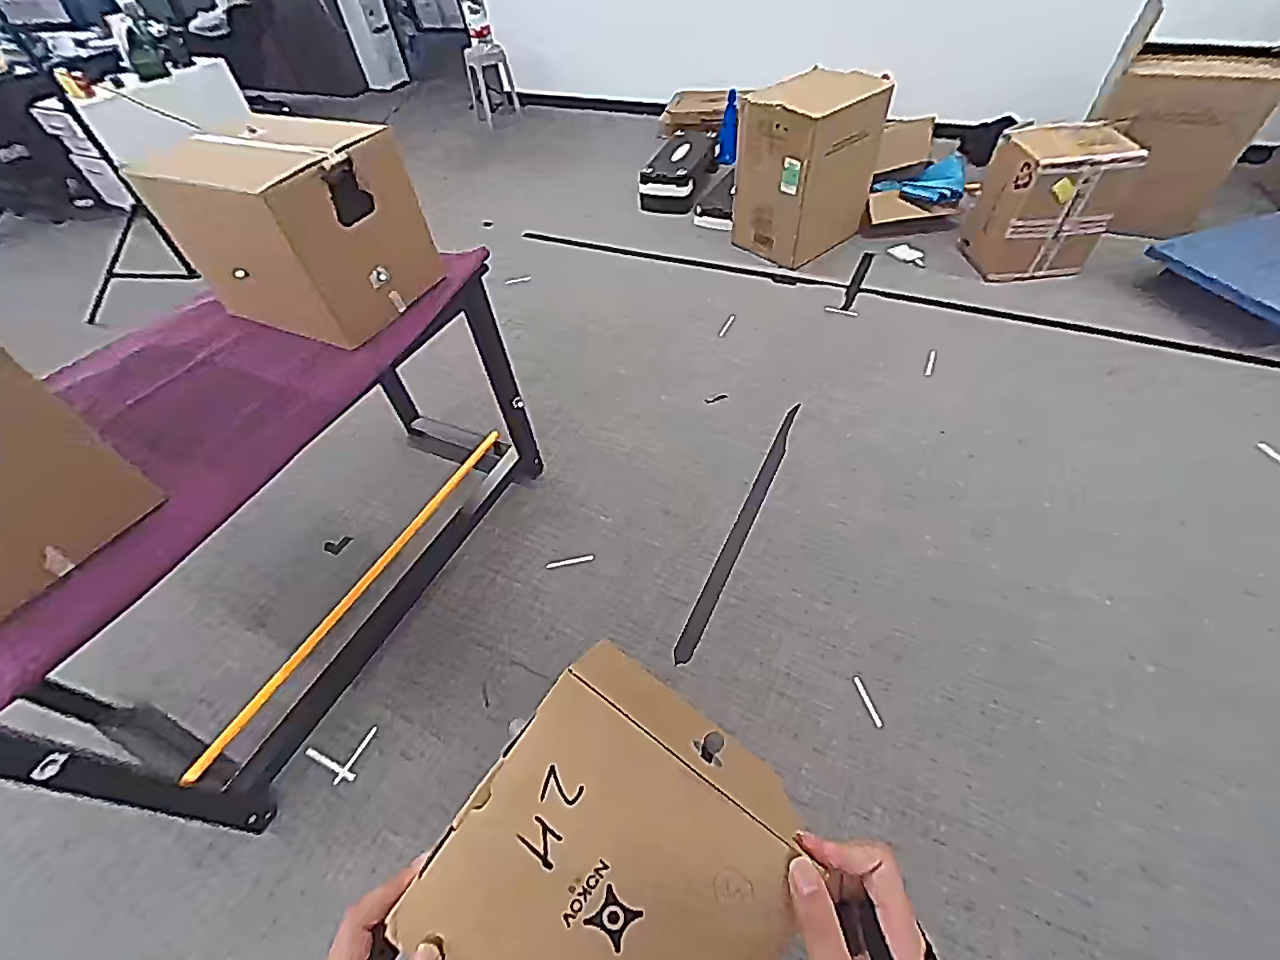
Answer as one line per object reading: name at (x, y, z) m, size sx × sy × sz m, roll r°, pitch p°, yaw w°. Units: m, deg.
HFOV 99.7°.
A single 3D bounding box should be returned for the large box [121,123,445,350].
large box at (-0.701, -0.510, 1.125) m, size 0.408 × 0.320 × 0.320 m, roll 17°, pitch 53°, yaw 20°
